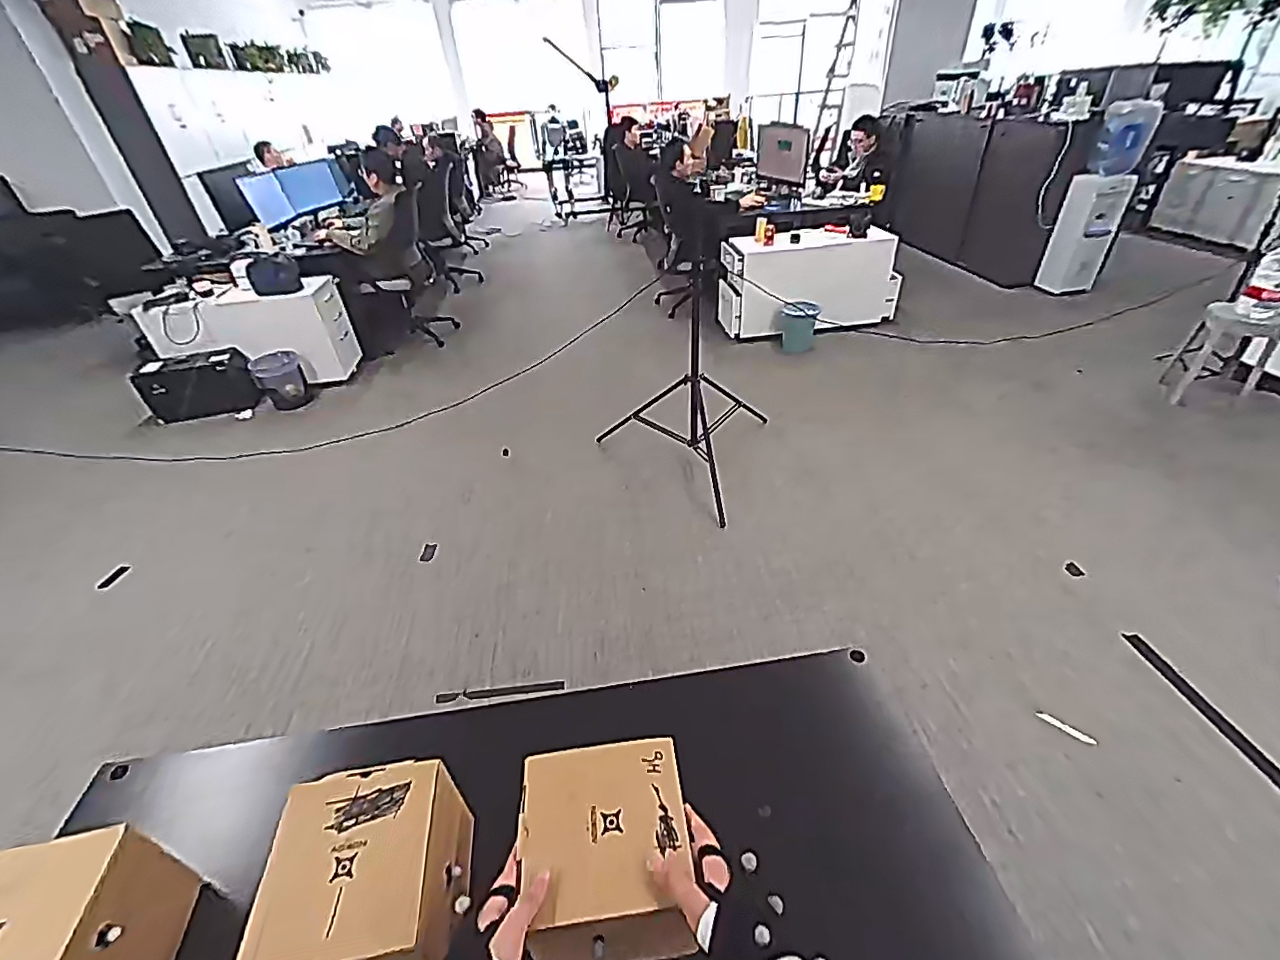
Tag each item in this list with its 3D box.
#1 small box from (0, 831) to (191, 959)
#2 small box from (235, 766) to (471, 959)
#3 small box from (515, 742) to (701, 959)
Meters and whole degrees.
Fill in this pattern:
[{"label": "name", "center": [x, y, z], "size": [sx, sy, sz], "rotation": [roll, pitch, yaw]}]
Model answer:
[{"label": "small box", "center": [-0.617, 0.505, 0.553], "size": [0.168, 0.176, 0.179], "rotation": [-9, 36, -9]}, {"label": "small box", "center": [-0.291, 0.453, 0.593], "size": [0.168, 0.176, 0.179], "rotation": [-8, 37, -6]}, {"label": "small box", "center": [-0.031, 0.427, 0.607], "size": [0.179, 0.176, 0.168], "rotation": [-6, 36, -3]}]
